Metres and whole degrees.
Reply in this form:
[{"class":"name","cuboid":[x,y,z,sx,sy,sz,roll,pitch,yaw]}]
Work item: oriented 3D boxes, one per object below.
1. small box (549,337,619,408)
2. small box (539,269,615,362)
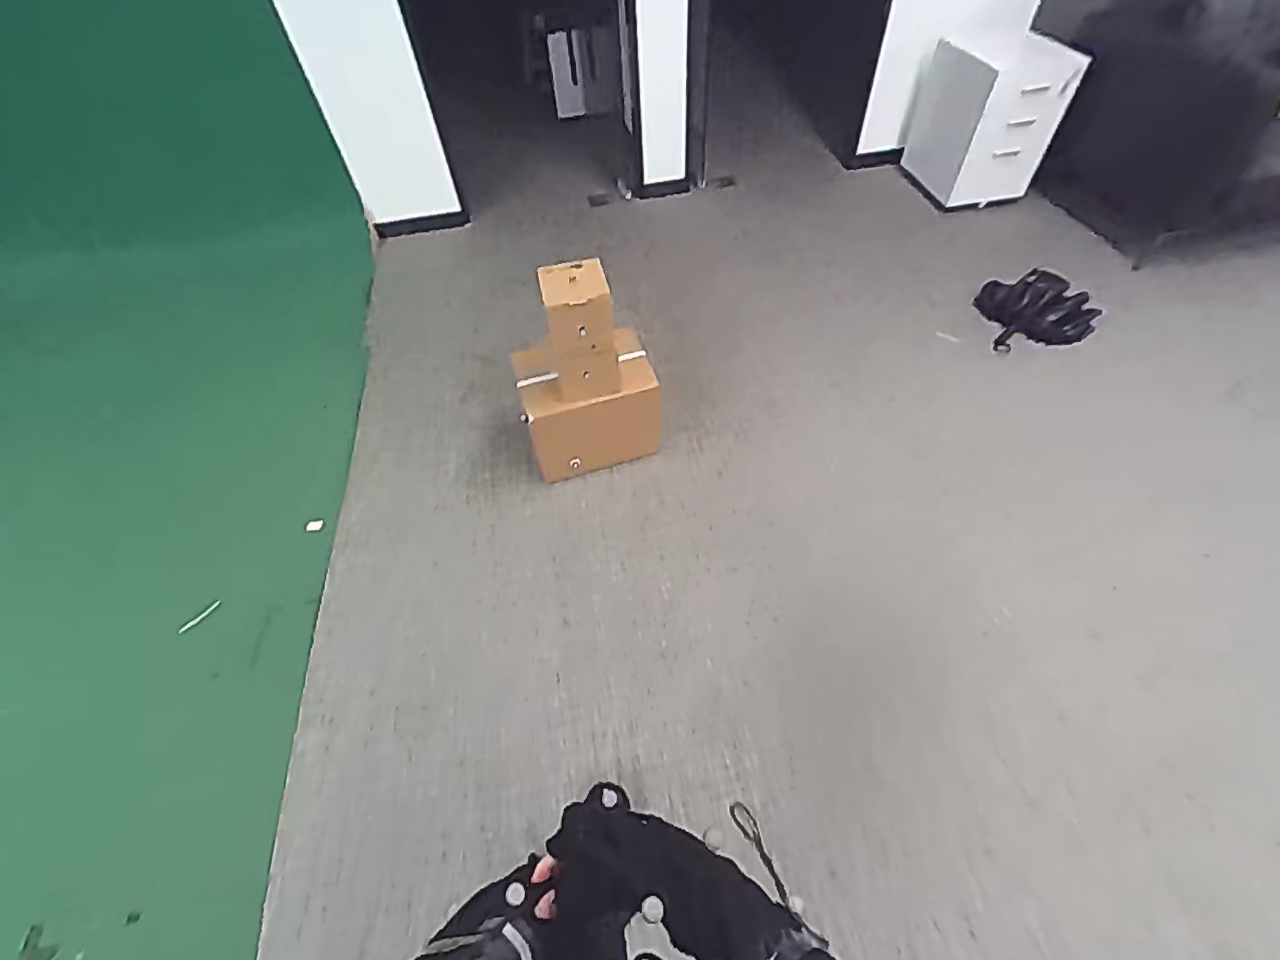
[{"class":"small box","cuboid":[-0.159,-0.333,1.577,0.179,0.176,0.168,-12,53,-5]},{"class":"small box","cuboid":[-0.167,-0.433,1.448,0.168,0.176,0.179,-12,53,-5]}]
